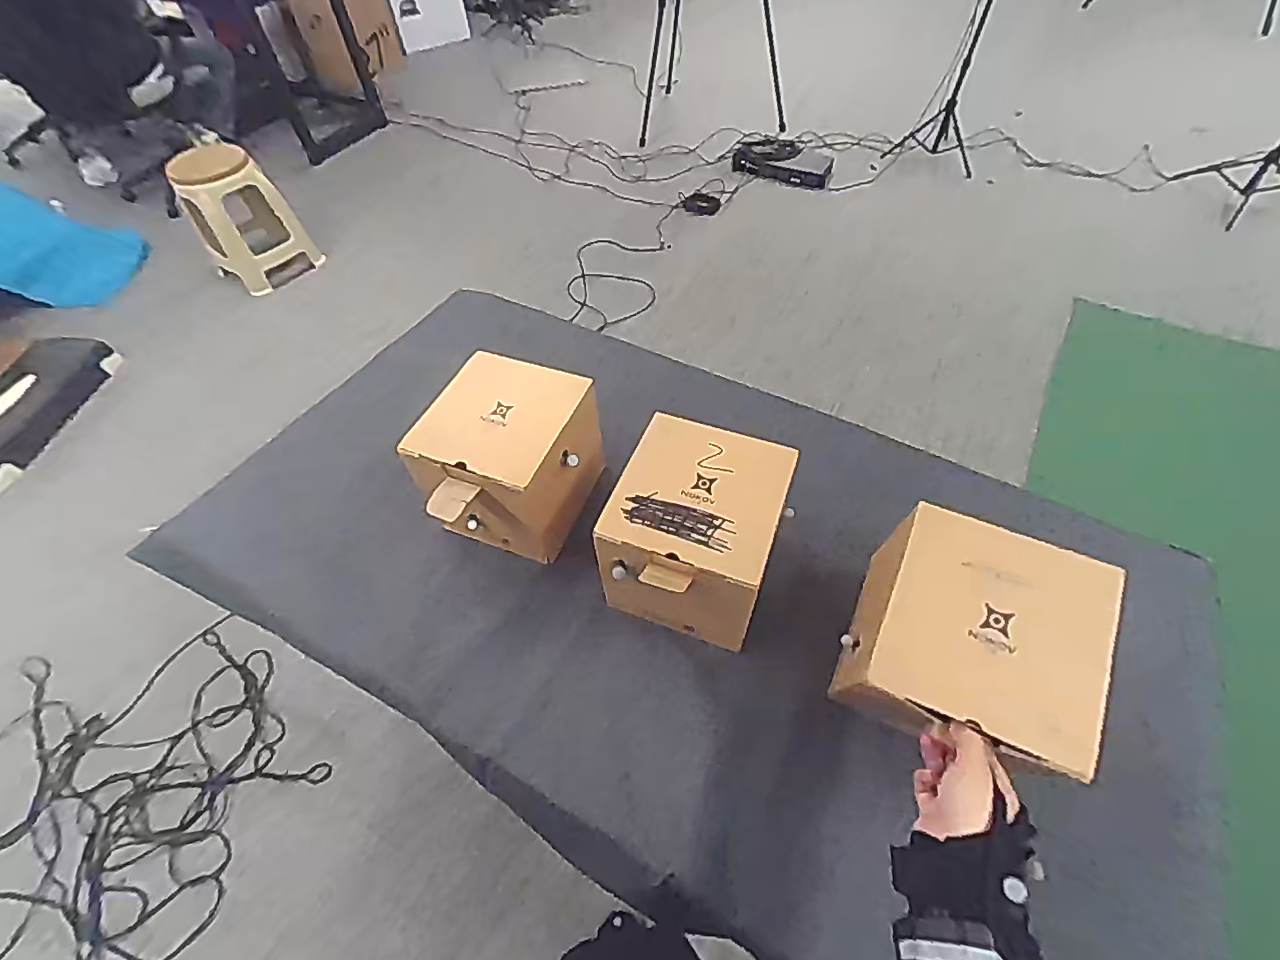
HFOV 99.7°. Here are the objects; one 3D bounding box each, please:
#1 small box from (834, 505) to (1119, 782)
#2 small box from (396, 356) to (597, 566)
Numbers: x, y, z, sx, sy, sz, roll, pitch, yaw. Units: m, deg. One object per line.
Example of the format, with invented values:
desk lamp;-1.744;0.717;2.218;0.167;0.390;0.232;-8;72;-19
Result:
small box;0.298;0.155;0.513;0.168;0.176;0.179;20;68;15
small box;-0.162;-0.022;0.682;0.168;0.176;0.179;16;56;14
